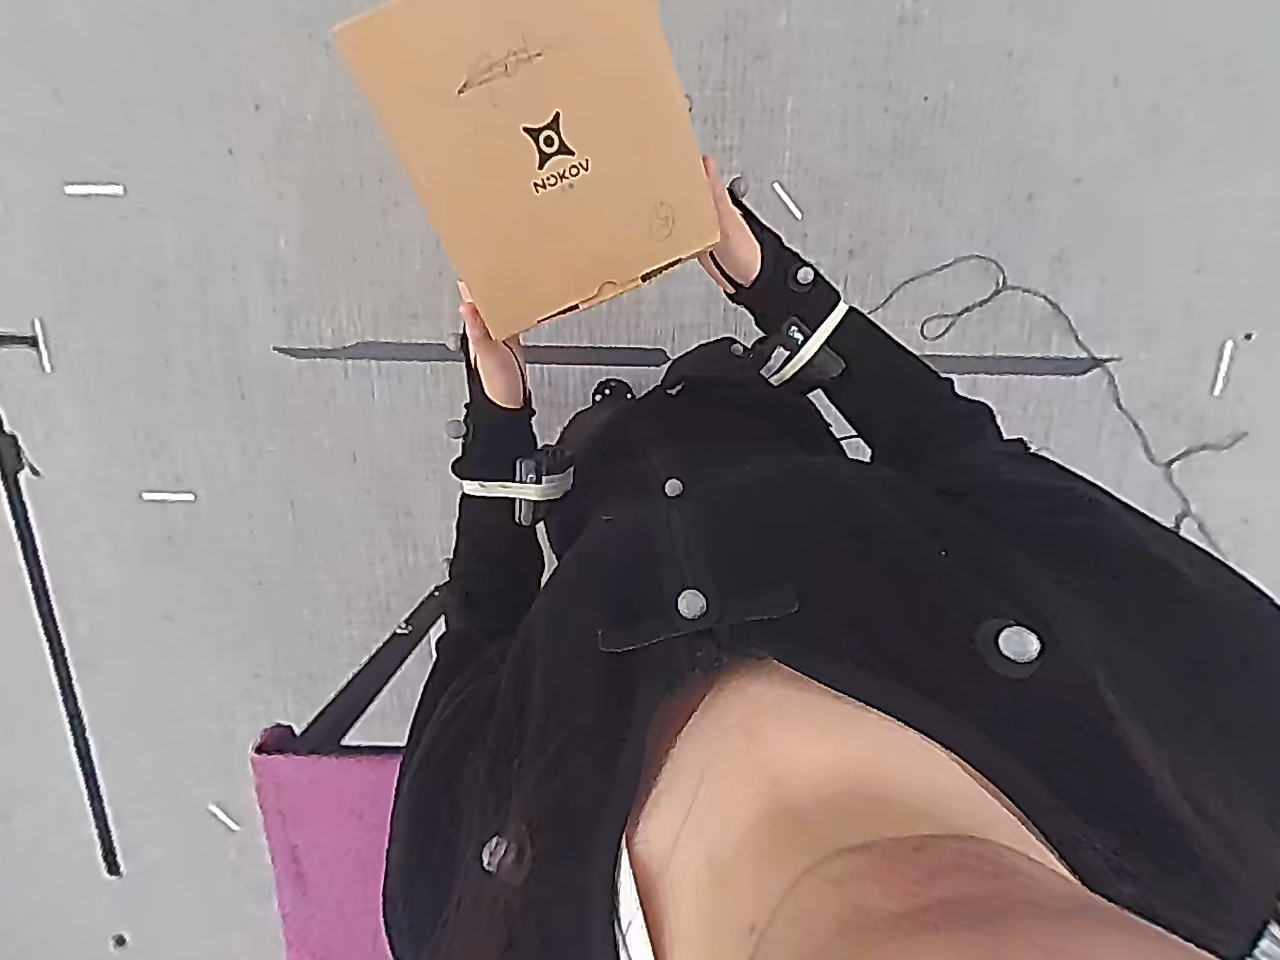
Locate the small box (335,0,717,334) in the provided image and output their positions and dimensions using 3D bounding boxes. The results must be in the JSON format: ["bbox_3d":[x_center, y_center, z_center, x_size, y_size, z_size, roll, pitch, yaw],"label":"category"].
[{"bbox_3d":[-0.065,-0.230,0.384,0.168,0.176,0.179,-24,117,1],"label":"small box"}]
